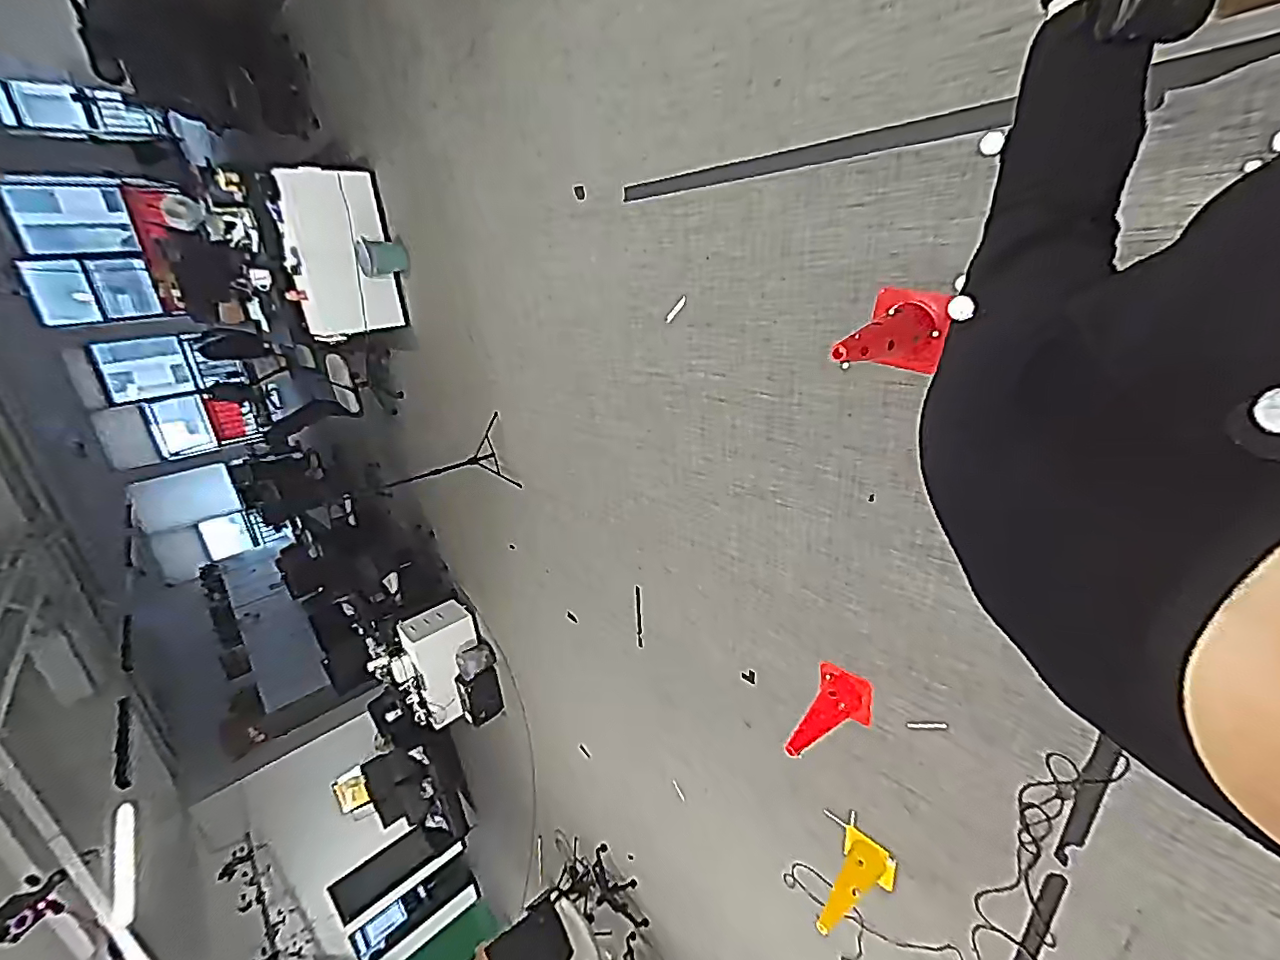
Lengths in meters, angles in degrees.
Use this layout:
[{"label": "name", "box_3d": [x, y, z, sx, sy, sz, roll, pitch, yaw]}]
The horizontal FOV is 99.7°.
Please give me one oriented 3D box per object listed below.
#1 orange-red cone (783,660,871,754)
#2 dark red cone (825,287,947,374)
[{"label": "orange-red cone", "box_3d": [0.618, 0.829, 1.874, 0.198, 0.360, 0.199, 18, 123, 47]}, {"label": "dark red cone", "box_3d": [0.561, -0.340, 1.306, 0.201, 0.394, 0.202, 26, 127, 40]}]
